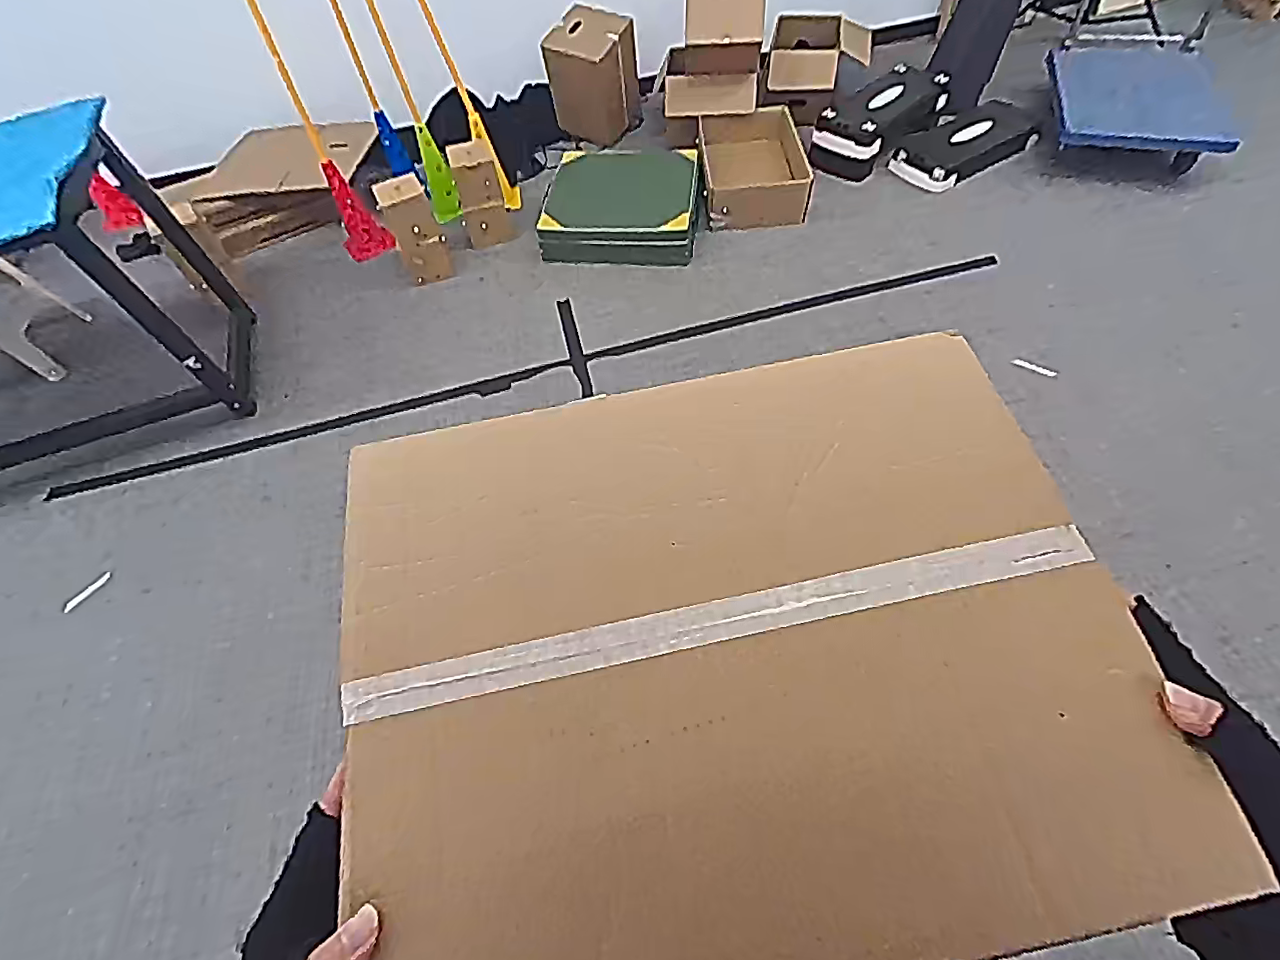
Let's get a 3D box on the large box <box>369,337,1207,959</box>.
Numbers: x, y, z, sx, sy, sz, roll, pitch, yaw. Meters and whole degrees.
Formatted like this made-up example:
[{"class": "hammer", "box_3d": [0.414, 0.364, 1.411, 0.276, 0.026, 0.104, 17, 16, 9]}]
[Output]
[{"class": "large box", "box_3d": [0.051, 0.139, 0.442, 0.408, 0.320, 0.320, -12, 66, -2]}]
